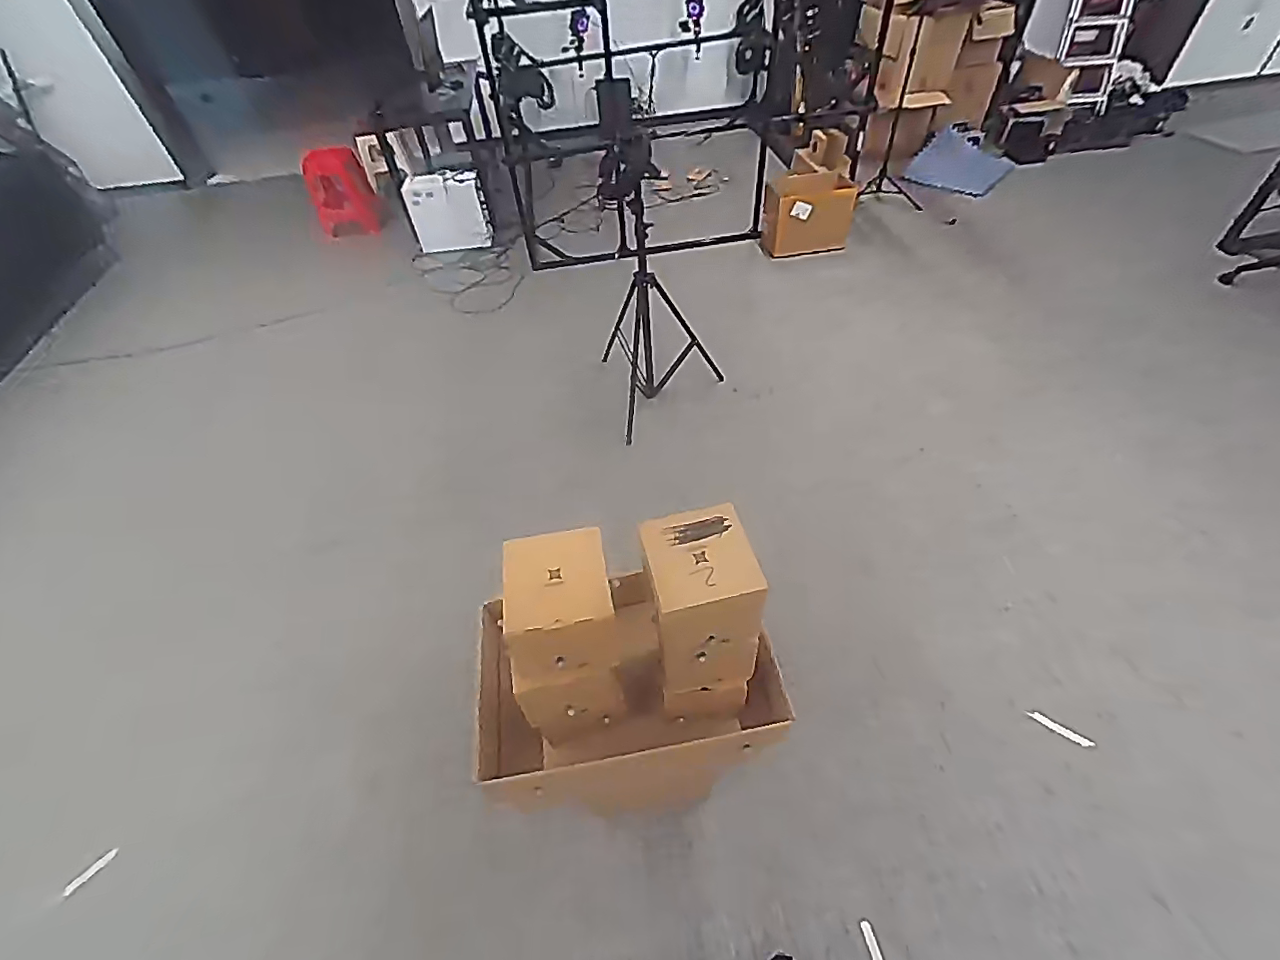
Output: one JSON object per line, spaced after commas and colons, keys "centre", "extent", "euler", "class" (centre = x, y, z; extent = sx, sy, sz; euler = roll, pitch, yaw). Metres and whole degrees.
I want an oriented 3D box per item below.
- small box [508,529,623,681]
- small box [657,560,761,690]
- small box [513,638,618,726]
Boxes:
{"centre": [-0.125, 0.210, 0.911], "extent": [0.168, 0.176, 0.179], "euler": [-9, 48, -6], "class": "small box"}
{"centre": [0.125, 0.279, 1.038], "extent": [0.168, 0.176, 0.179], "euler": [-7, 47, -1], "class": "small box"}
{"centre": [-0.141, 0.334, 1.020], "extent": [0.168, 0.176, 0.179], "euler": [-12, 49, -7], "class": "small box"}
